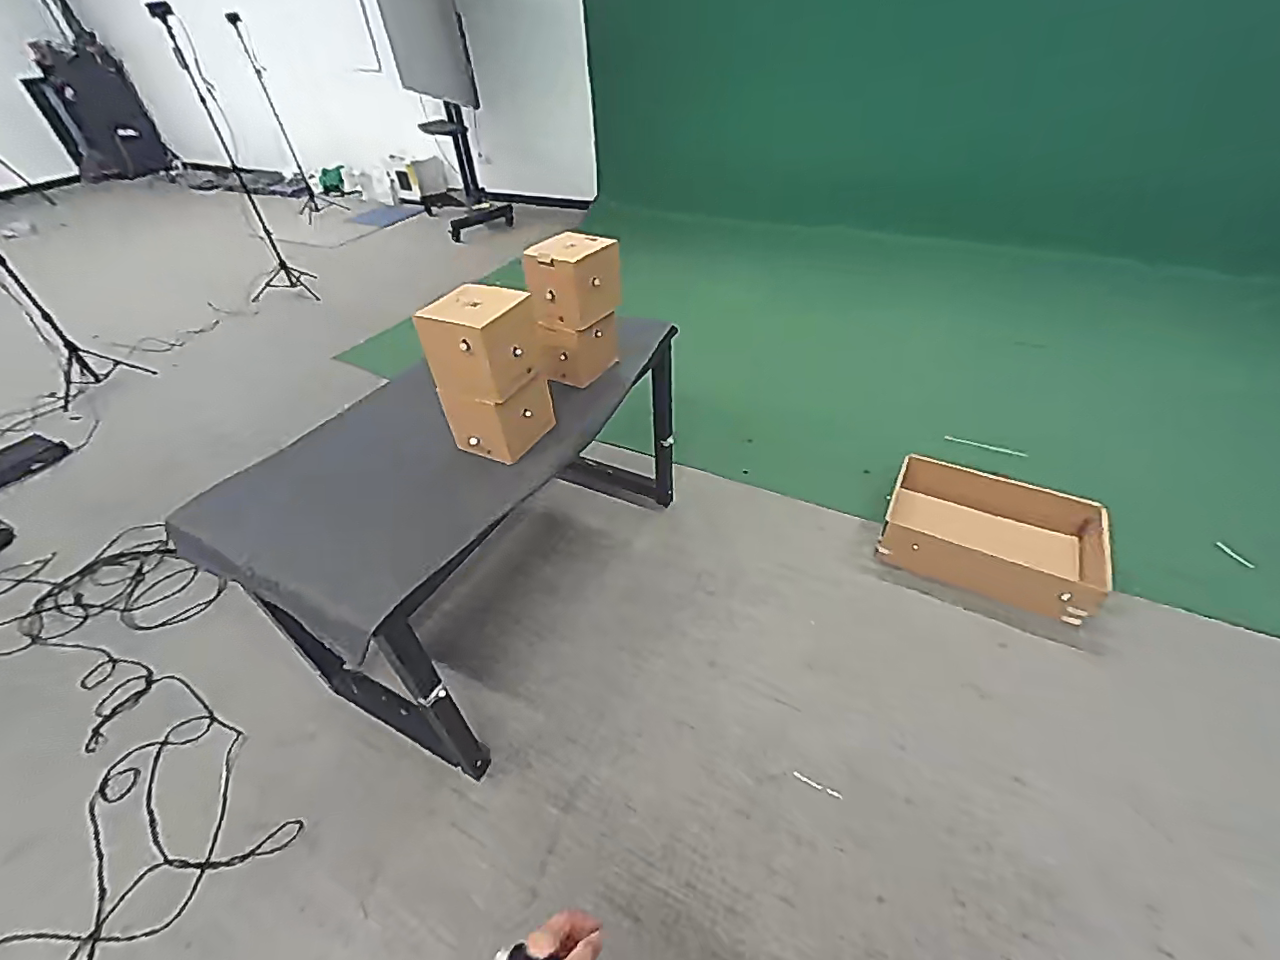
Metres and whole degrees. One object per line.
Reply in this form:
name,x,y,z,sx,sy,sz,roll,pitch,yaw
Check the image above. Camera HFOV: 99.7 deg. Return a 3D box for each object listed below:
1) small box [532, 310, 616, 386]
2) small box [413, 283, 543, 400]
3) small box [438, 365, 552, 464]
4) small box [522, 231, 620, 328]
small box,-0.174,-0.373,1.454,0.168,0.176,0.179,20,46,25
small box,-0.321,-0.284,1.113,0.179,0.176,0.168,16,45,23
small box,-0.317,-0.165,1.227,0.168,0.176,0.179,17,47,24
small box,-0.162,-0.498,1.347,0.168,0.176,0.179,23,48,27
